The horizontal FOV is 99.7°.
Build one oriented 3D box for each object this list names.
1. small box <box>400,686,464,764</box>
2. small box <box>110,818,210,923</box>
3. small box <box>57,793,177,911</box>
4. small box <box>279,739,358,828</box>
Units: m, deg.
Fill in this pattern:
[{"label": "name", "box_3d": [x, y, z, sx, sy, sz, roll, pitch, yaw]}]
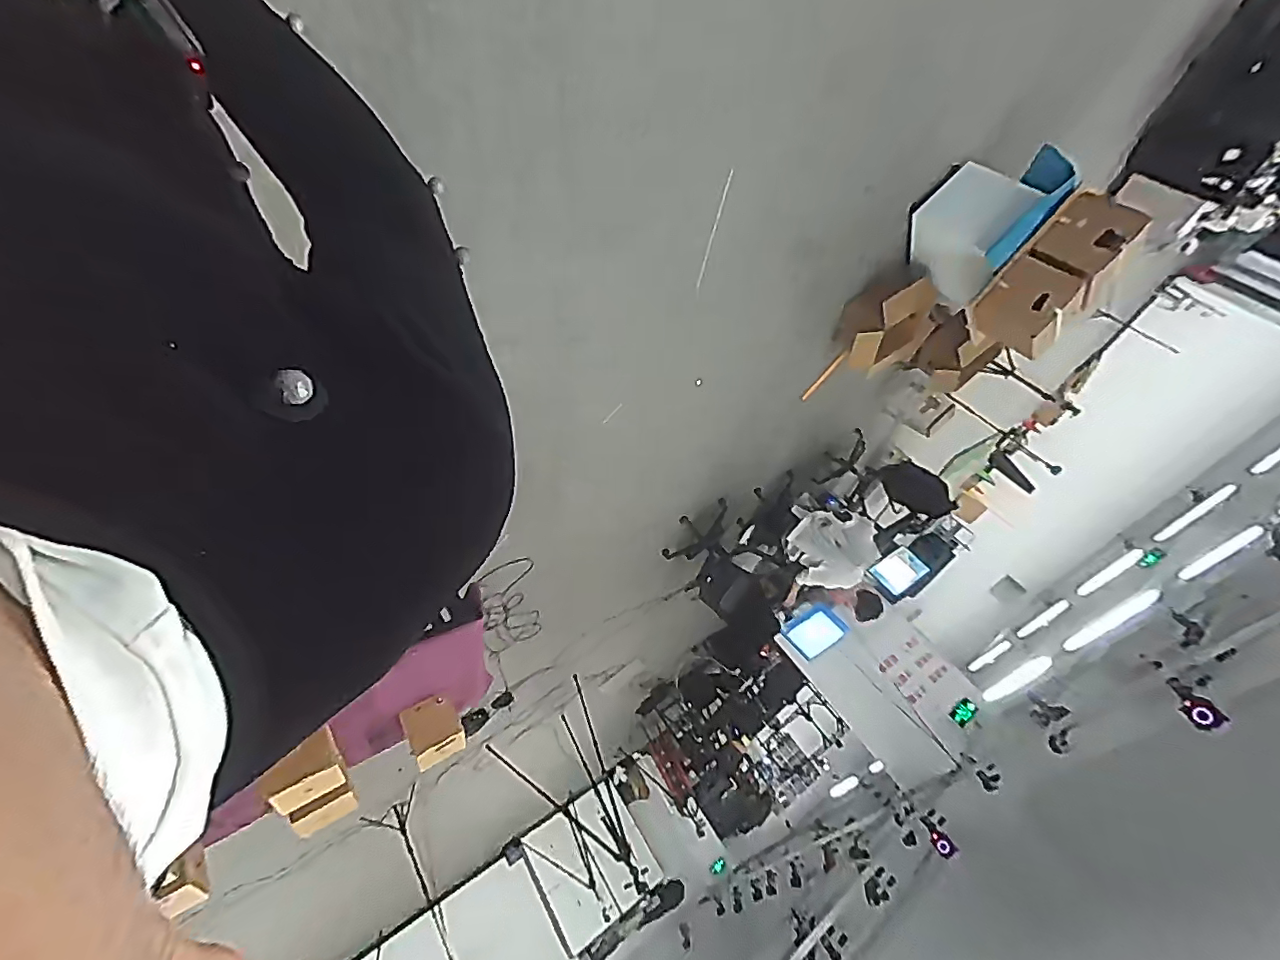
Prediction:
[{"label": "small box", "box_3d": [-0.734, 0.858, 1.908, 0.168, 0.176, 0.179, -20, 146, -31]}, {"label": "small box", "box_3d": [-1.342, 1.087, 1.513, 0.168, 0.176, 0.179, -21, 146, -32]}, {"label": "small box", "box_3d": [-1.280, 0.908, 1.330, 0.168, 0.176, 0.179, -20, 147, -34]}, {"label": "small box", "box_3d": [-1.020, 0.959, 1.718, 0.168, 0.176, 0.179, -20, 145, -33]}]
